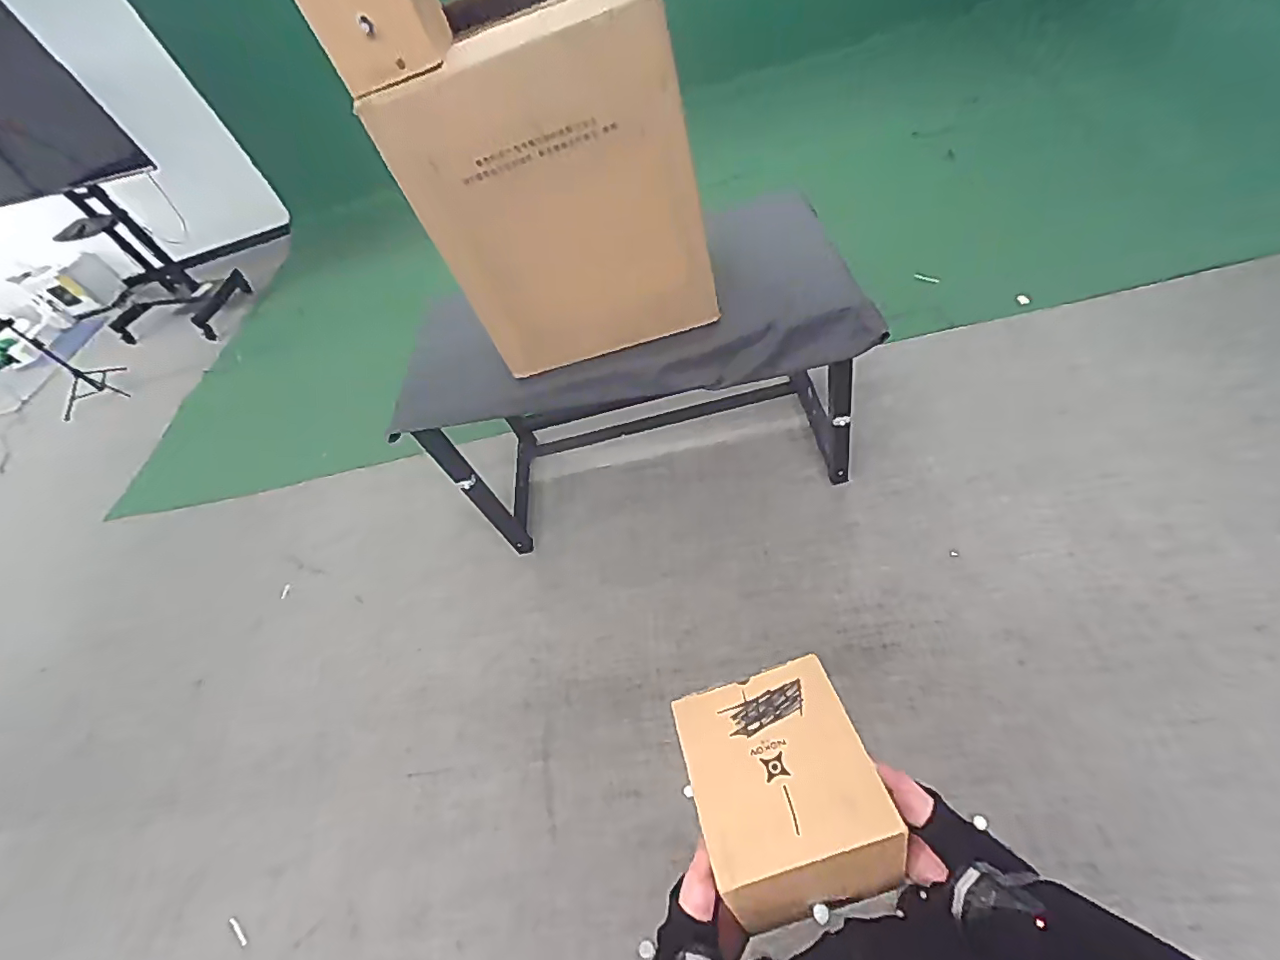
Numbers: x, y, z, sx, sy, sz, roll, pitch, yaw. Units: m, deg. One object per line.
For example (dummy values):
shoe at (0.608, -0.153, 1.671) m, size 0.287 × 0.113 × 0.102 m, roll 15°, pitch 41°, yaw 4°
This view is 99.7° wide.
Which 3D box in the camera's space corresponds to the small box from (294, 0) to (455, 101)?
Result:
small box at (-0.429, -0.765, 0.898) m, size 0.168 × 0.176 × 0.179 m, roll -14°, pitch 51°, yaw 9°
